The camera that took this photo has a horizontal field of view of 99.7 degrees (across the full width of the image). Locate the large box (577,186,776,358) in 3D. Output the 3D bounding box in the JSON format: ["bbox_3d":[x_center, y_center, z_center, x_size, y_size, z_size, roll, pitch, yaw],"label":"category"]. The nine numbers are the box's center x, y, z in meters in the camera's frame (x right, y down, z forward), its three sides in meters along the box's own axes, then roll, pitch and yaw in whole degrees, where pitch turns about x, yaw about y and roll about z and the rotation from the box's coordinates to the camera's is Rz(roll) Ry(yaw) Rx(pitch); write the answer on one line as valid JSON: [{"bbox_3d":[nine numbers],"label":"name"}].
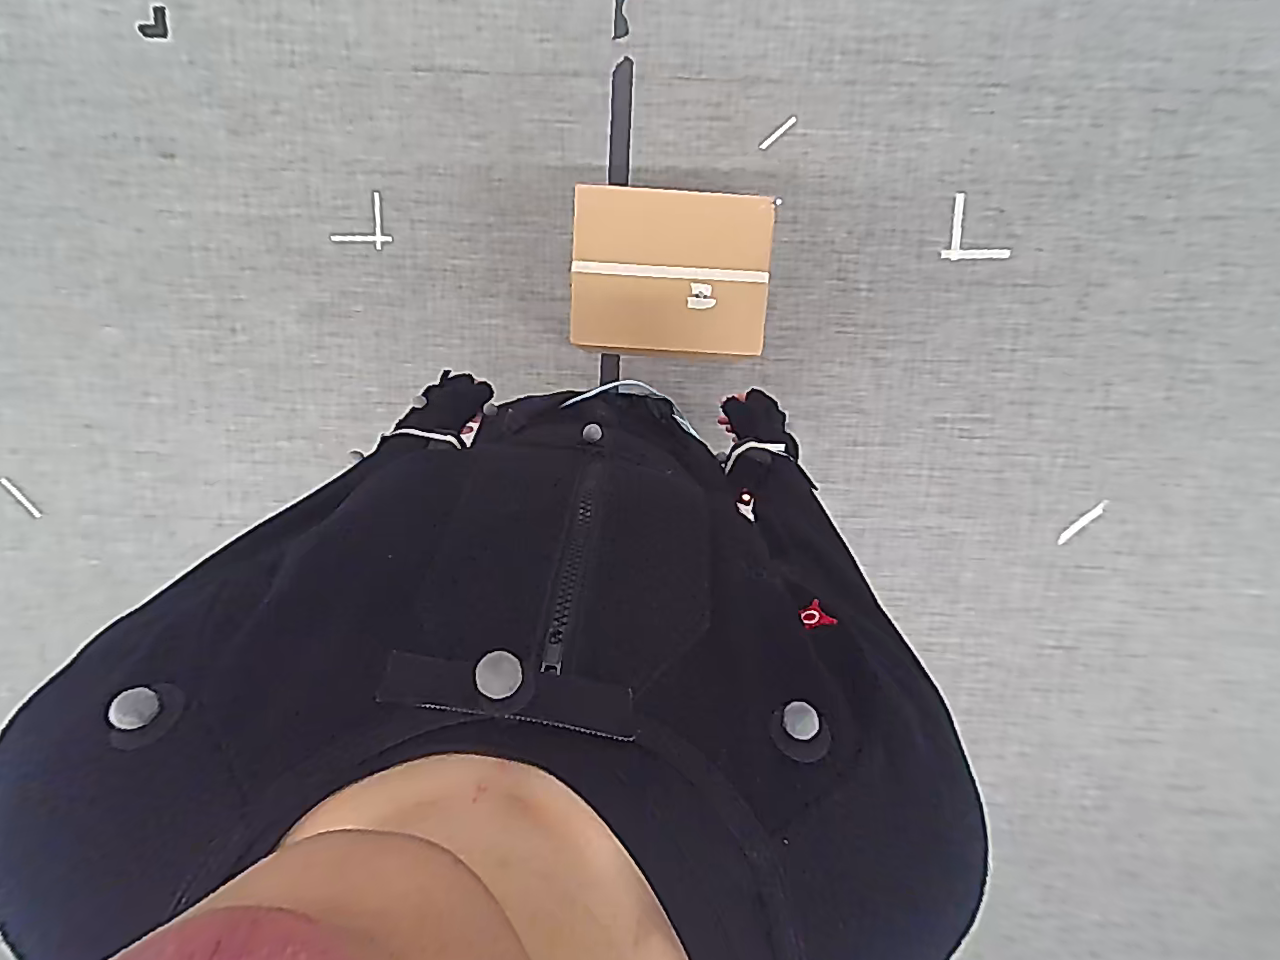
[{"bbox_3d":[0.067,-0.458,1.266,0.408,0.320,0.320,4,101,-1],"label":"large box"}]
